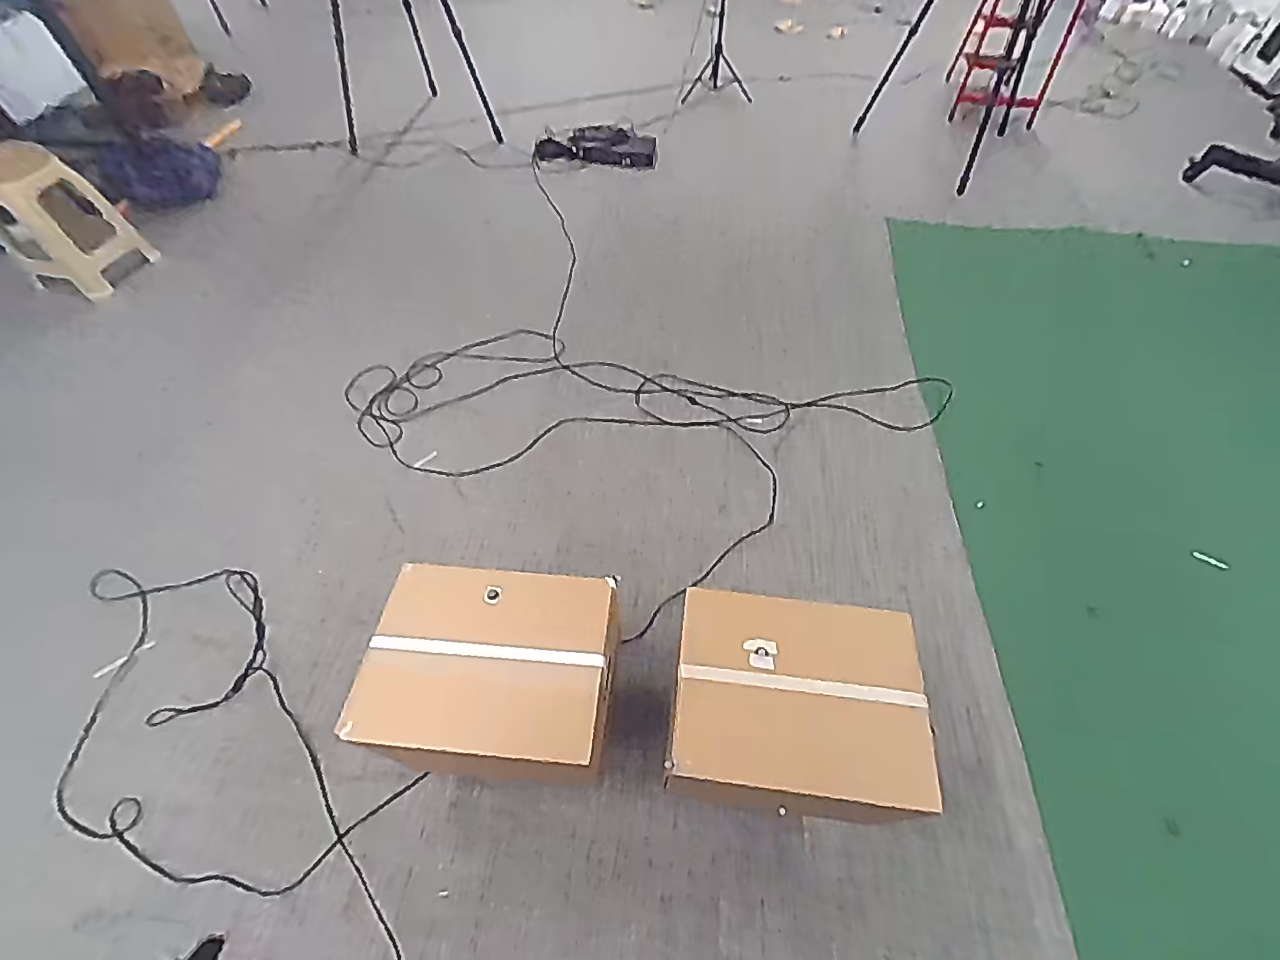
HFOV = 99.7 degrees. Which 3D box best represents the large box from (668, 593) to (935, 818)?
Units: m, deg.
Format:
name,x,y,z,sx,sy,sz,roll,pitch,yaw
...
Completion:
name,x,y,z,sx,sy,sz,roll,pitch,yaw
large box,0.270,0.437,1.031,0.408,0.320,0.320,6,55,5
